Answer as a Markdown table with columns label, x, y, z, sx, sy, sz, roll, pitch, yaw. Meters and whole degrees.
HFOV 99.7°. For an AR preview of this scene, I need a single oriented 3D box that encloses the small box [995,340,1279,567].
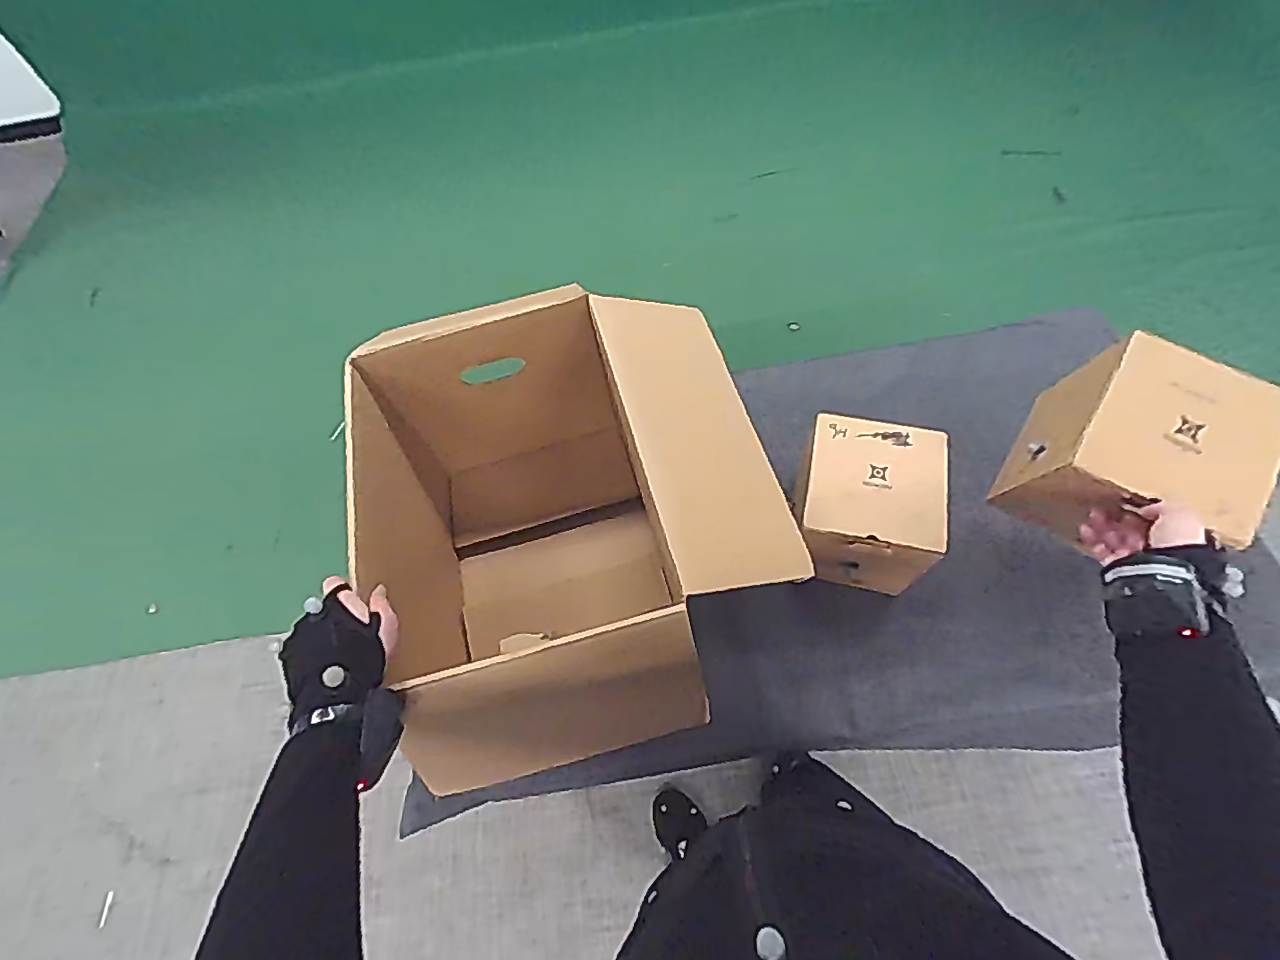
| label | x | y | z | sx | sy | sz | roll | pitch | yaw |
| --- | --- | --- | --- | --- | --- | --- | --- | --- | --- |
| small box | 0.552 | -0.018 | 0.620 | 0.168 | 0.176 | 0.179 | 30 | 78 | 13 |
